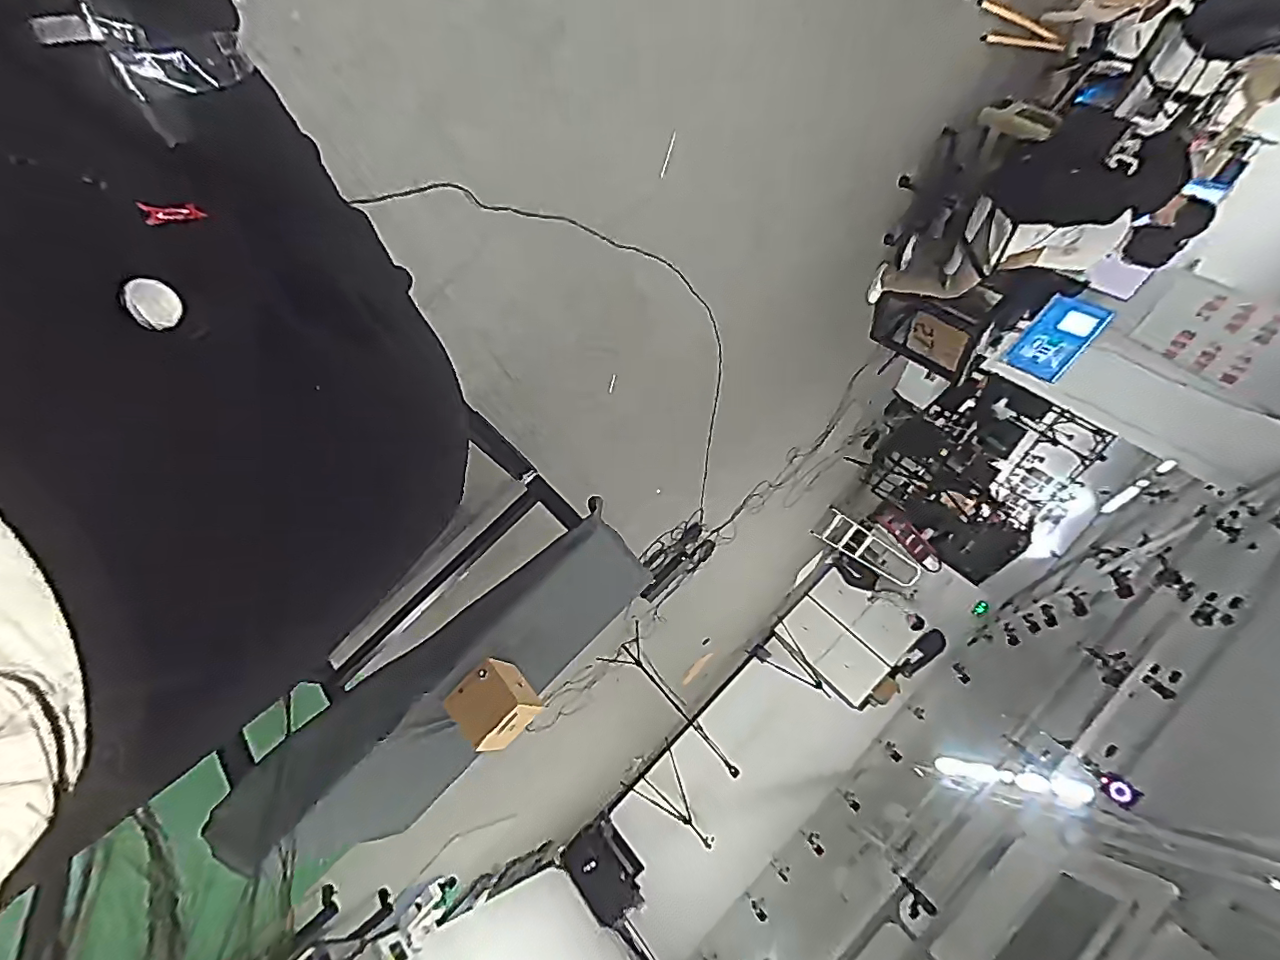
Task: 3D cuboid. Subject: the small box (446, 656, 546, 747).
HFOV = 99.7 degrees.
[{"bbox_3d":[-0.402,0.615,1.508,0.168,0.176,0.179,-46,152,-5],"label":"small box"}]
